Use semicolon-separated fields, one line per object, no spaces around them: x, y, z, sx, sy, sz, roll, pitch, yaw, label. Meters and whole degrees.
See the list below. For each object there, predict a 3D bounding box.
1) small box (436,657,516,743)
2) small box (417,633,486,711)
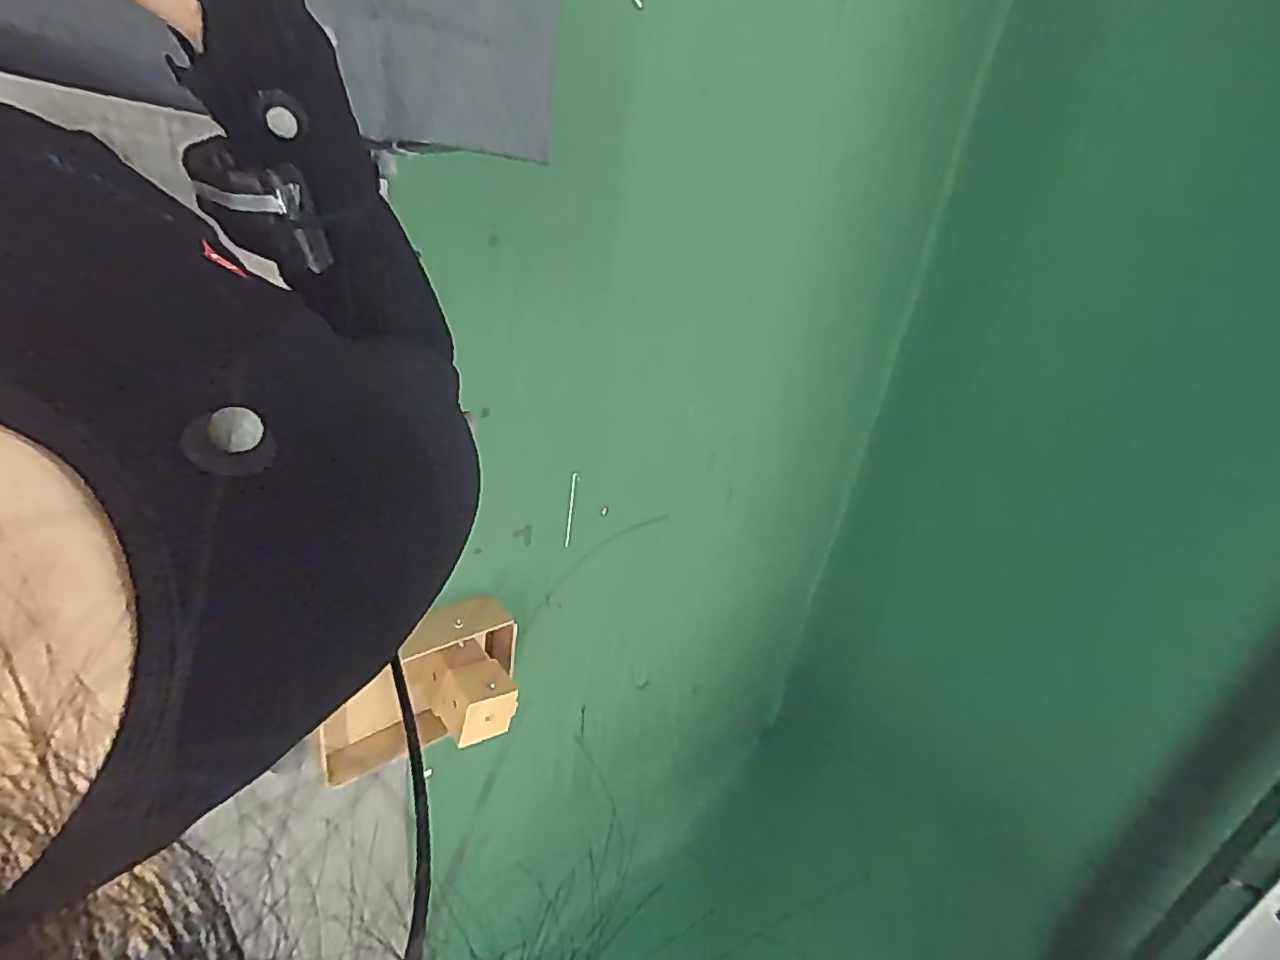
-0.530;0.694;1.729;0.179;0.176;0.168;1;112;-46;small box
-0.638;0.650;1.844;0.168;0.176;0.179;8;107;-47;small box
